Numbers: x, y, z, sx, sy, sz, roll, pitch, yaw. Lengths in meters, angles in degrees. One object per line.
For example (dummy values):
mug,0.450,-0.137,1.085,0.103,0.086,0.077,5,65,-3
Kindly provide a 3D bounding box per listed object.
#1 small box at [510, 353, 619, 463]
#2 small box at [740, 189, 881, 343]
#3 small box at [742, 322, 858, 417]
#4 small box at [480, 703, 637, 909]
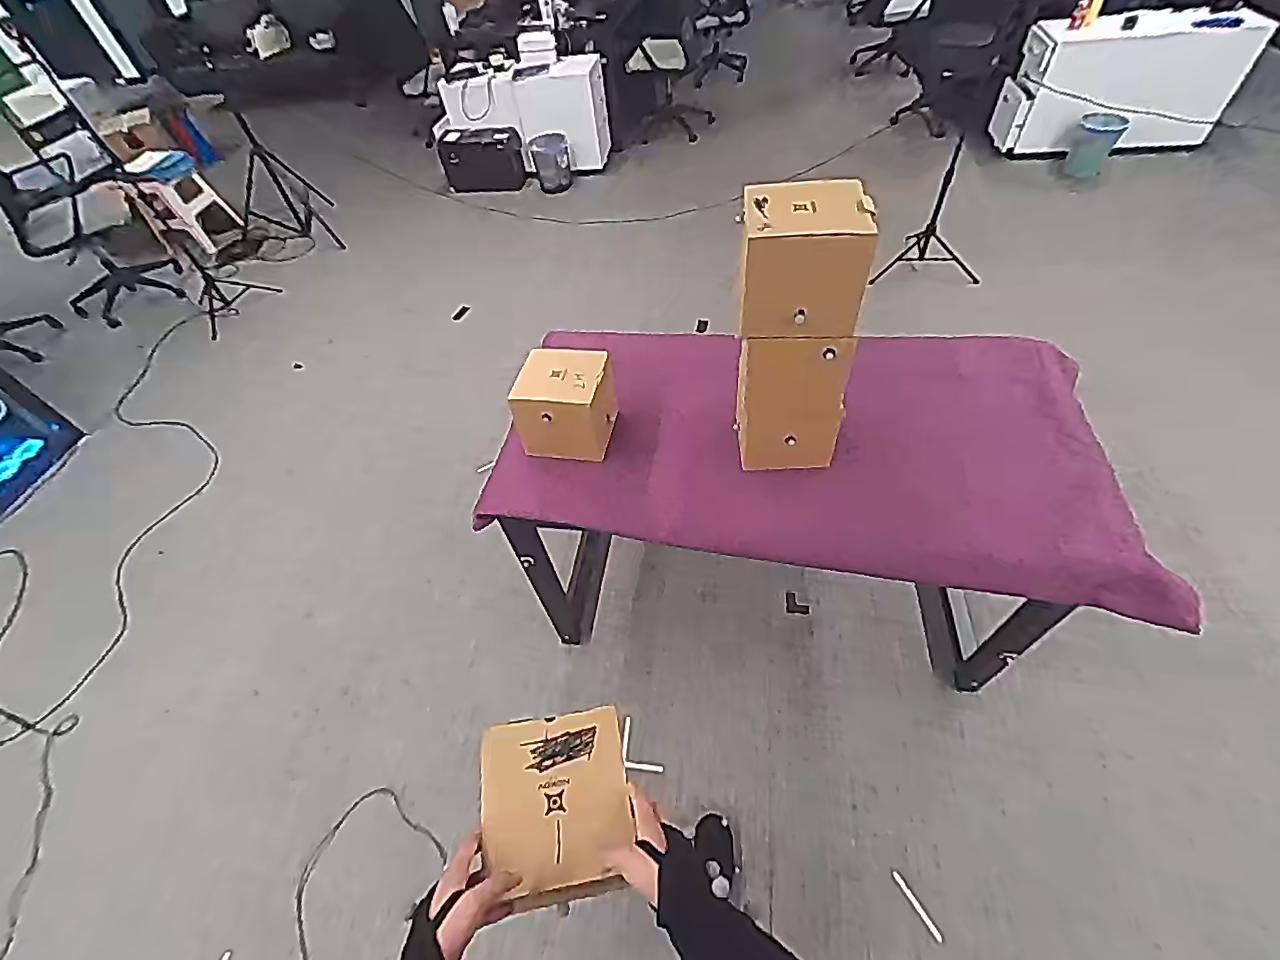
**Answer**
small box,-0.152,-0.153,1.163,0.179,0.176,0.168,6,51,11
small box,0.251,-0.329,0.842,0.179,0.176,0.168,2,50,7
small box,0.275,-0.227,0.969,0.179,0.176,0.168,2,51,8
small box,-0.102,0.405,0.674,0.168,0.176,0.179,-6,50,-9
